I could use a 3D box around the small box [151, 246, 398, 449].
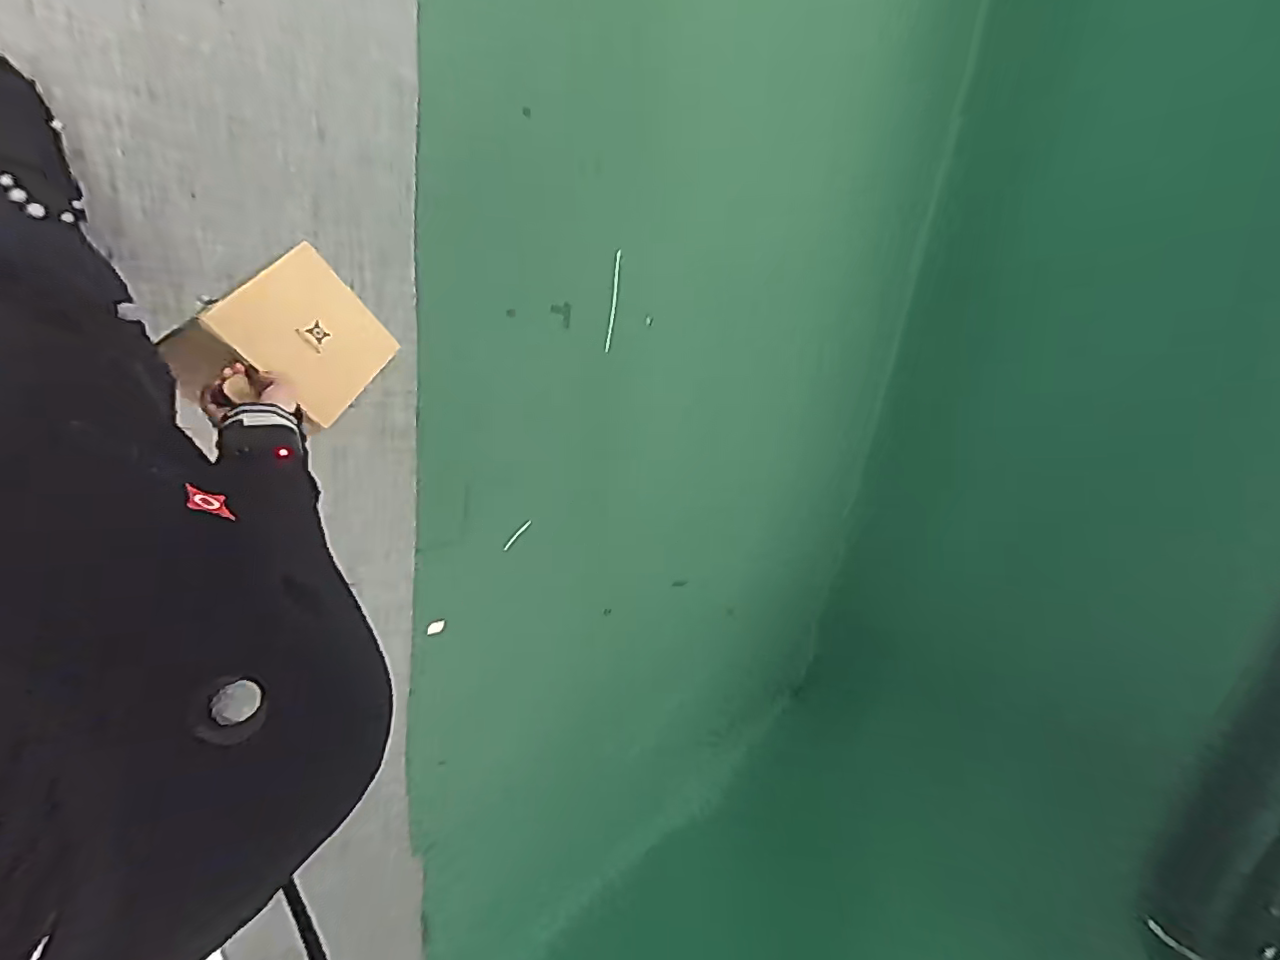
[{"bbox_3d":[-0.463,-0.163,0.697,0.168,0.176,0.179,55,39,-38],"label":"small box"}]
